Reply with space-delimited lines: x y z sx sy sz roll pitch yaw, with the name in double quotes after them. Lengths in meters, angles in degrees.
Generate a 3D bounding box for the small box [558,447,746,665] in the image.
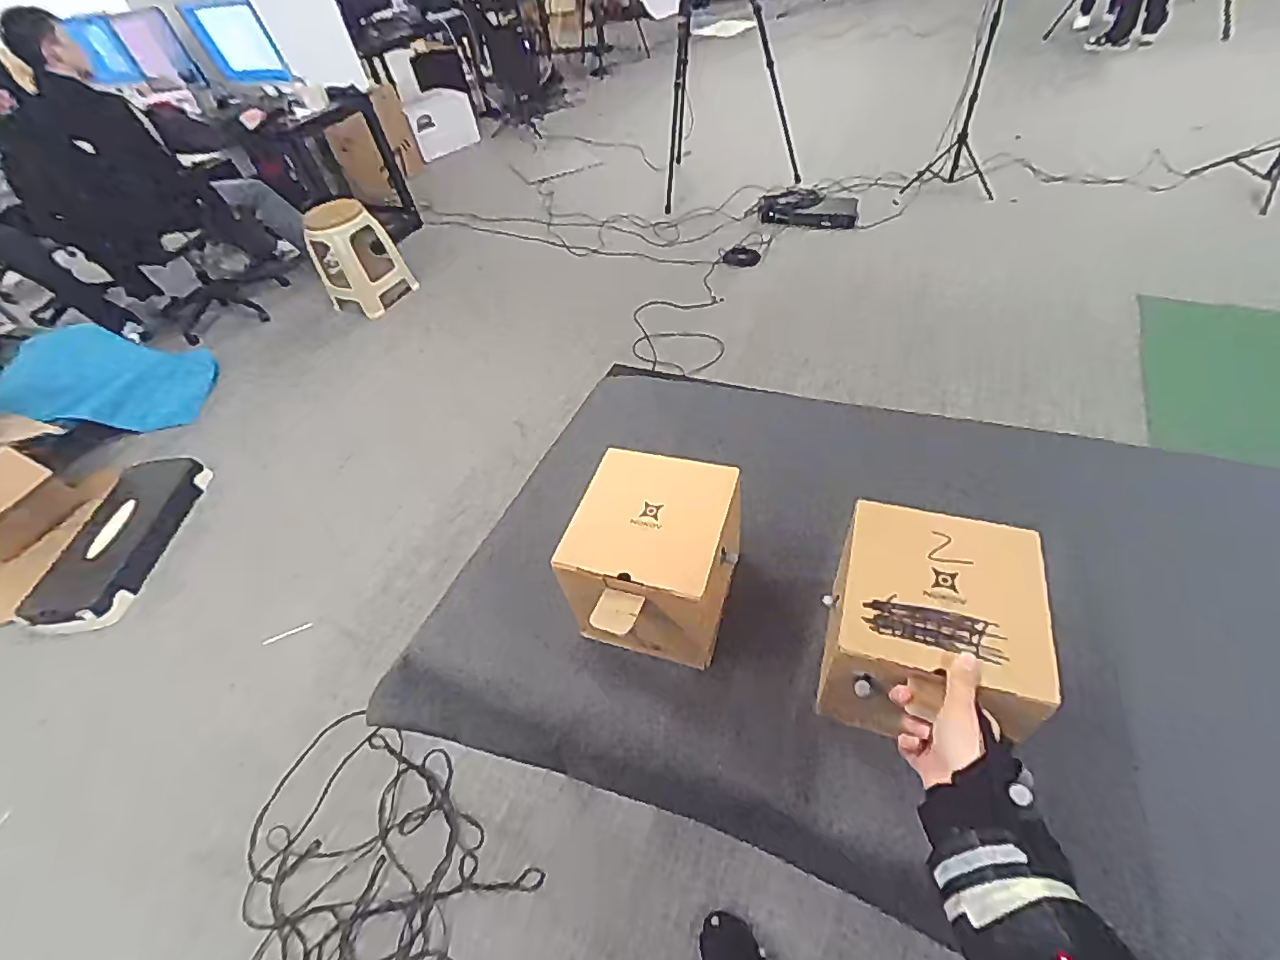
0.024 0.090 0.649 0.168 0.176 0.179 11 51 17 "small box"
